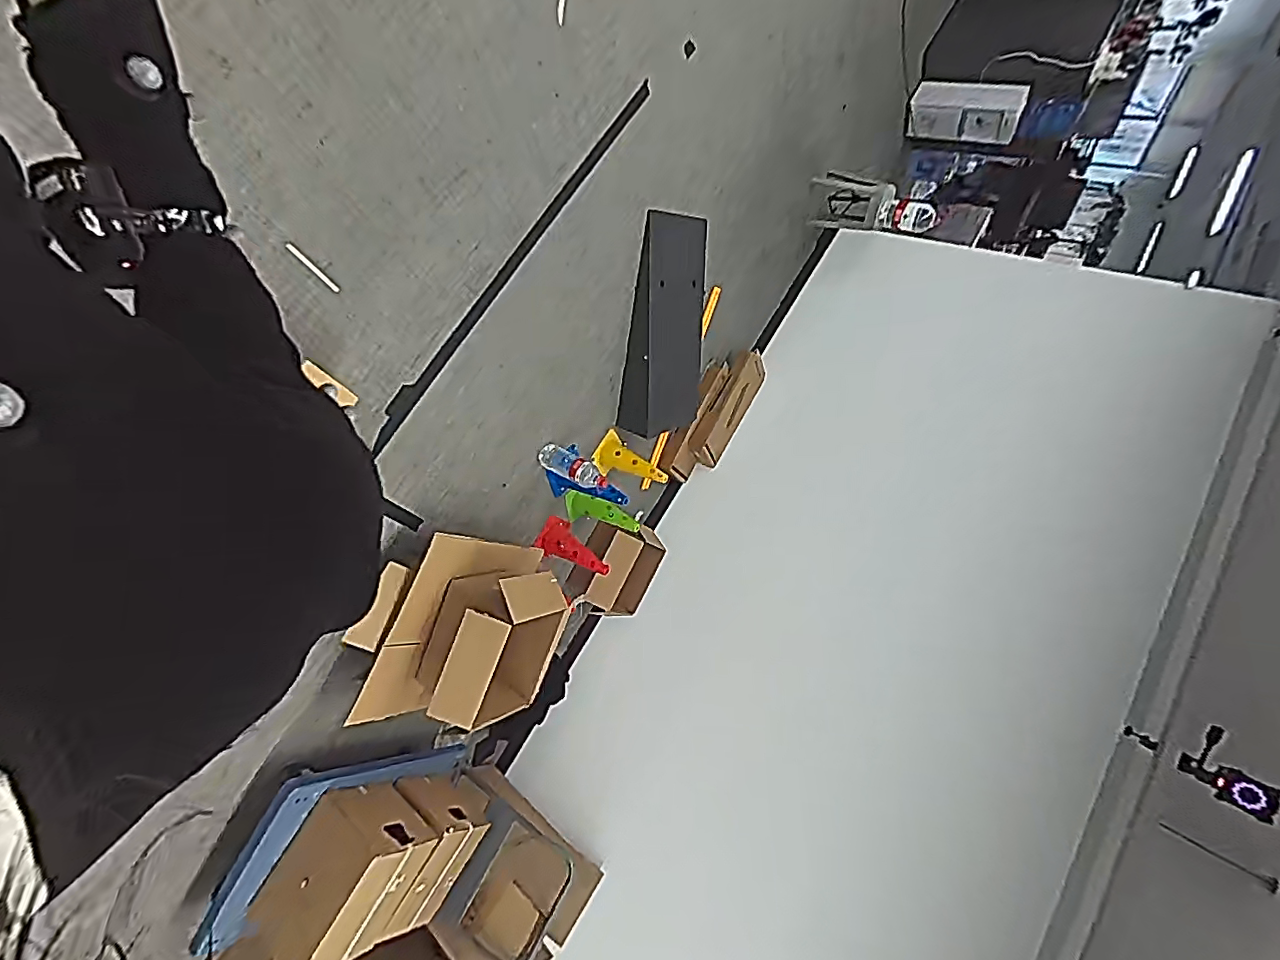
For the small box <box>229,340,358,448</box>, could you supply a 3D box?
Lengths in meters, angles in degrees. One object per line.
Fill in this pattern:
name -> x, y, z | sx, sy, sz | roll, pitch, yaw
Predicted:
small box -> -0.847, -0.213, 1.321 | 0.179, 0.176, 0.168 | -57, 152, -12
